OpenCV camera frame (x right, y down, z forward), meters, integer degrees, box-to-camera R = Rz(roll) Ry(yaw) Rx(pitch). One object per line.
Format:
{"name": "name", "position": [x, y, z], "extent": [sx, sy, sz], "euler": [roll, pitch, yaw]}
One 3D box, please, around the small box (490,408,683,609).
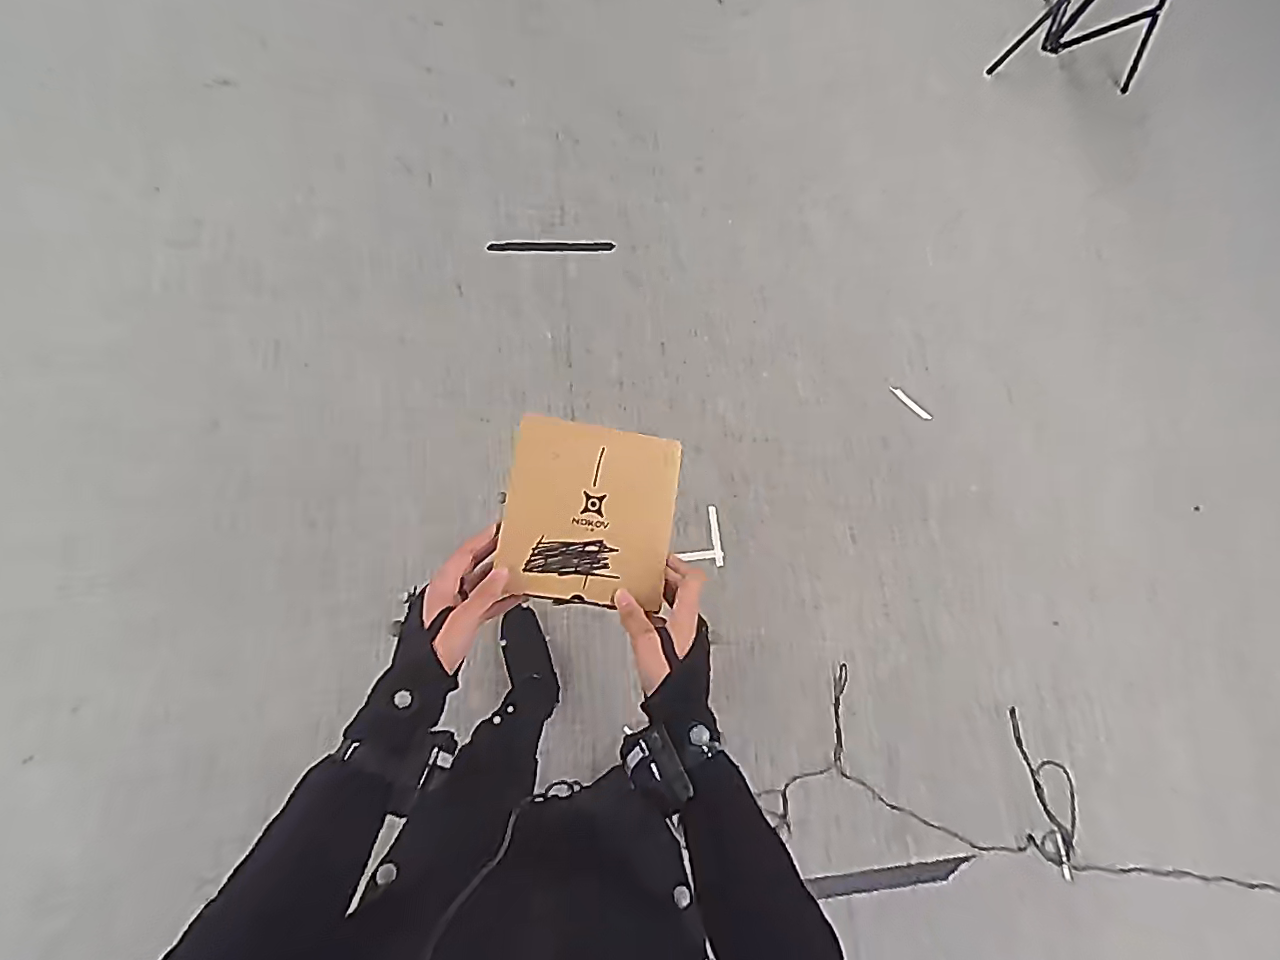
{"name": "small box", "position": [-0.062, 0.039, 0.603], "extent": [0.168, 0.176, 0.179], "euler": [10, 79, -9]}
